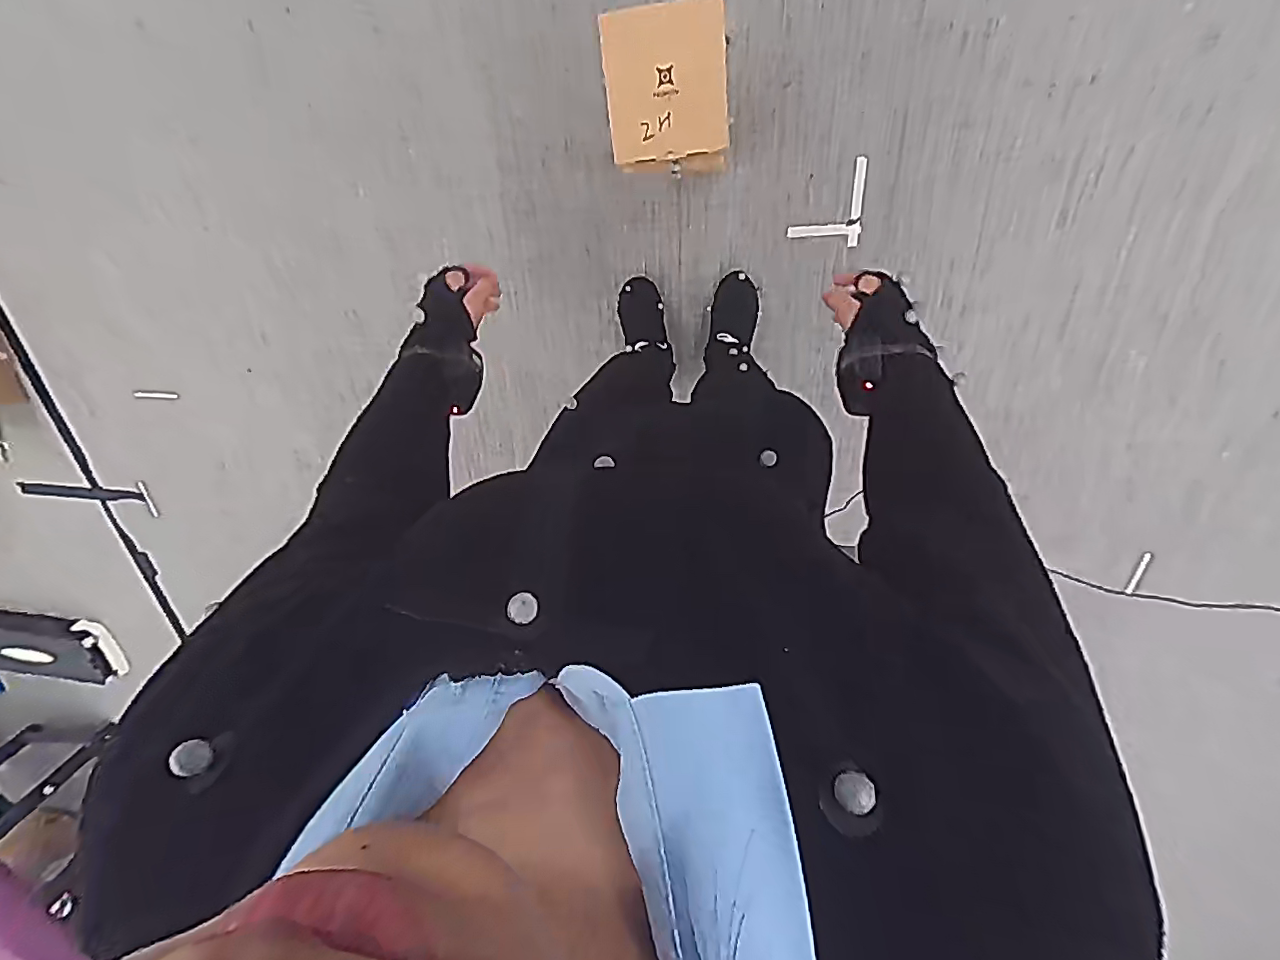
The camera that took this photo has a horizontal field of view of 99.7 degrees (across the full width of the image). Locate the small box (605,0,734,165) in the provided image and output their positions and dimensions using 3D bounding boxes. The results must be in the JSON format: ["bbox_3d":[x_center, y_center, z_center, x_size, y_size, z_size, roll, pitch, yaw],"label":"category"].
[{"bbox_3d":[0.052,-0.575,0.794,0.168,0.176,0.179,-2,119,10],"label":"small box"}]

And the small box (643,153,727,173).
[{"bbox_3d":[0.093,-0.723,1.086,0.168,0.176,0.179,1,118,8],"label":"small box"}]
